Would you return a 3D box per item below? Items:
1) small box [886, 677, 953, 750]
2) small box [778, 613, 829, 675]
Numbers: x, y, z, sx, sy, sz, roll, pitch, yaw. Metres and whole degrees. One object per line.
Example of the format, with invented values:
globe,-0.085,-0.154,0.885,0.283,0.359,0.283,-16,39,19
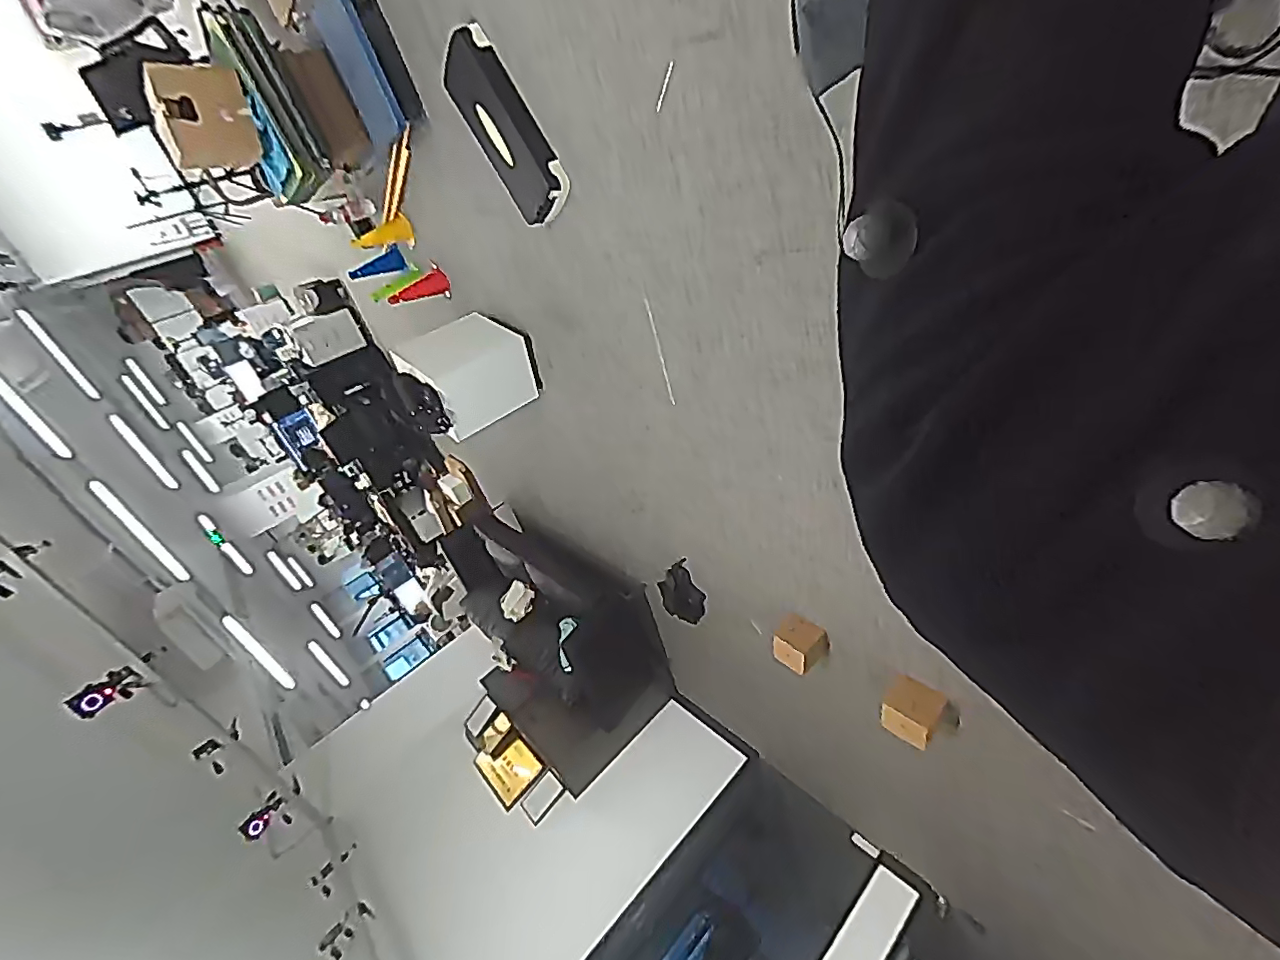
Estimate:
small box,1.098,0.911,2.133,0.179,0.176,0.168,24,140,44
small box,0.755,0.751,2.495,0.168,0.176,0.179,29,145,42
